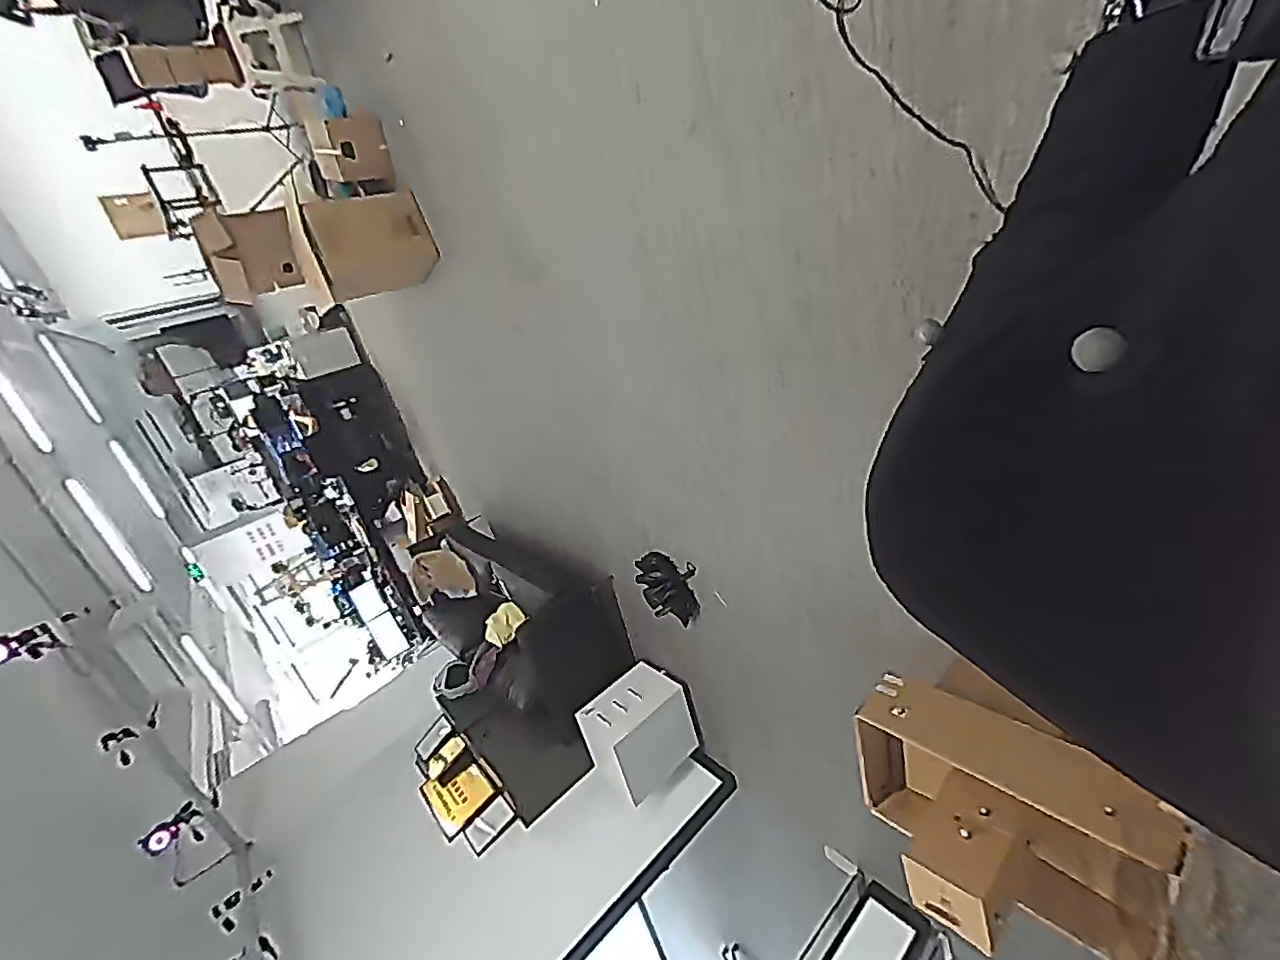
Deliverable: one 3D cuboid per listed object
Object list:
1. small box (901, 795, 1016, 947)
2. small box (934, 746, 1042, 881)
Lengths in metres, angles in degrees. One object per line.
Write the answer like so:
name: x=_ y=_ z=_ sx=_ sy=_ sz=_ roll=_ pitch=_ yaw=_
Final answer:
small box: x=0.713 y=0.859 z=1.204 sx=0.168 sy=0.176 sz=0.179 roll=6 pitch=120 yaw=52
small box: x=0.833 y=0.784 z=1.289 sx=0.168 sy=0.176 sz=0.179 roll=4 pitch=120 yaw=52
